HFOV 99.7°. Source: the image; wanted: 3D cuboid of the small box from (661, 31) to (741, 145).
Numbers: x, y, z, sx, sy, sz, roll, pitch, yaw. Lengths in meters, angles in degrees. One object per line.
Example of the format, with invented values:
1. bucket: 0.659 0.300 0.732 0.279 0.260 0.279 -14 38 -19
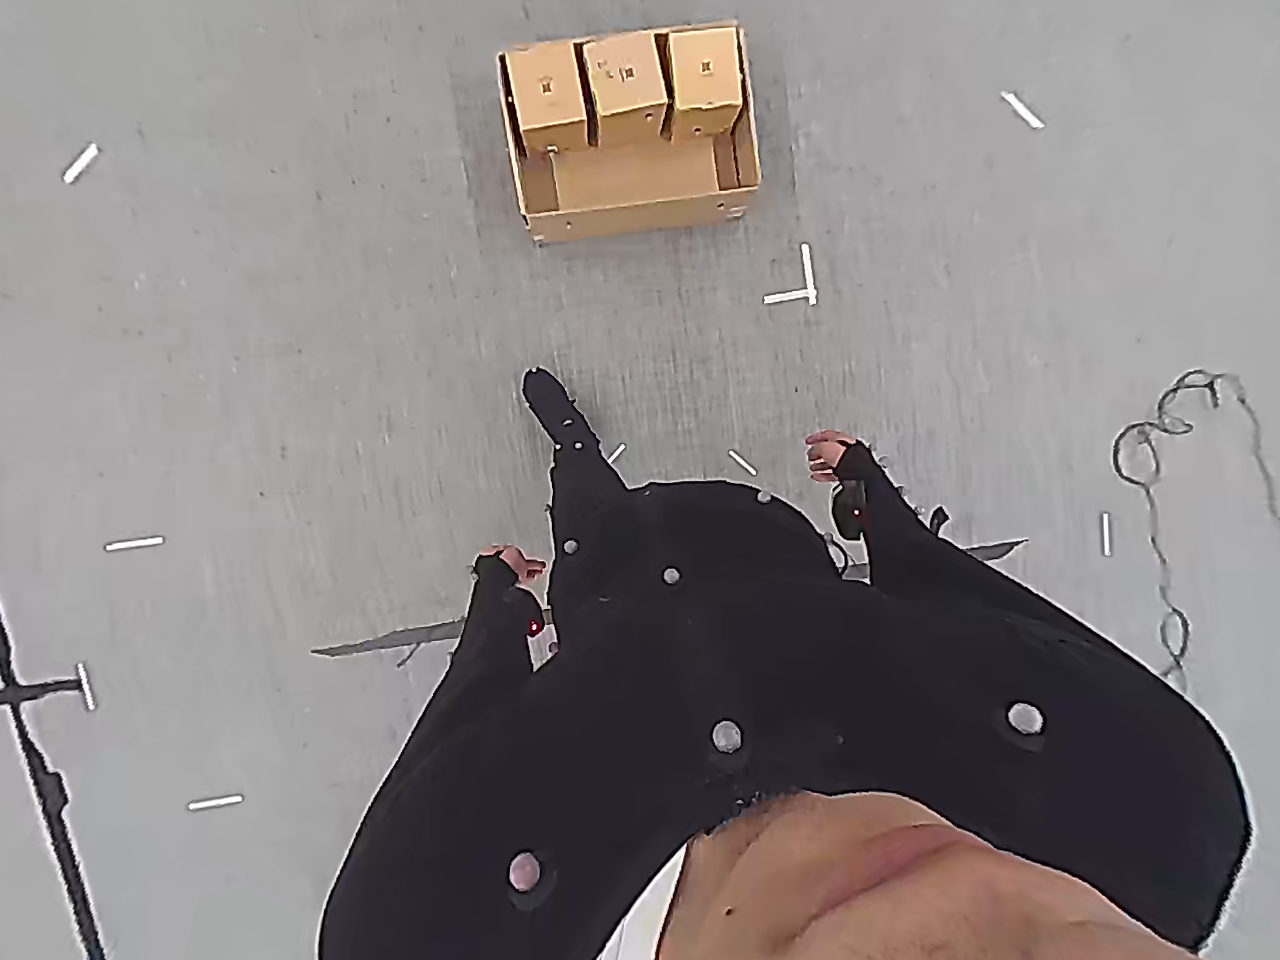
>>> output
1. small box: 0.151 -1.001 1.393 0.168 0.176 0.179 -9 99 -2
